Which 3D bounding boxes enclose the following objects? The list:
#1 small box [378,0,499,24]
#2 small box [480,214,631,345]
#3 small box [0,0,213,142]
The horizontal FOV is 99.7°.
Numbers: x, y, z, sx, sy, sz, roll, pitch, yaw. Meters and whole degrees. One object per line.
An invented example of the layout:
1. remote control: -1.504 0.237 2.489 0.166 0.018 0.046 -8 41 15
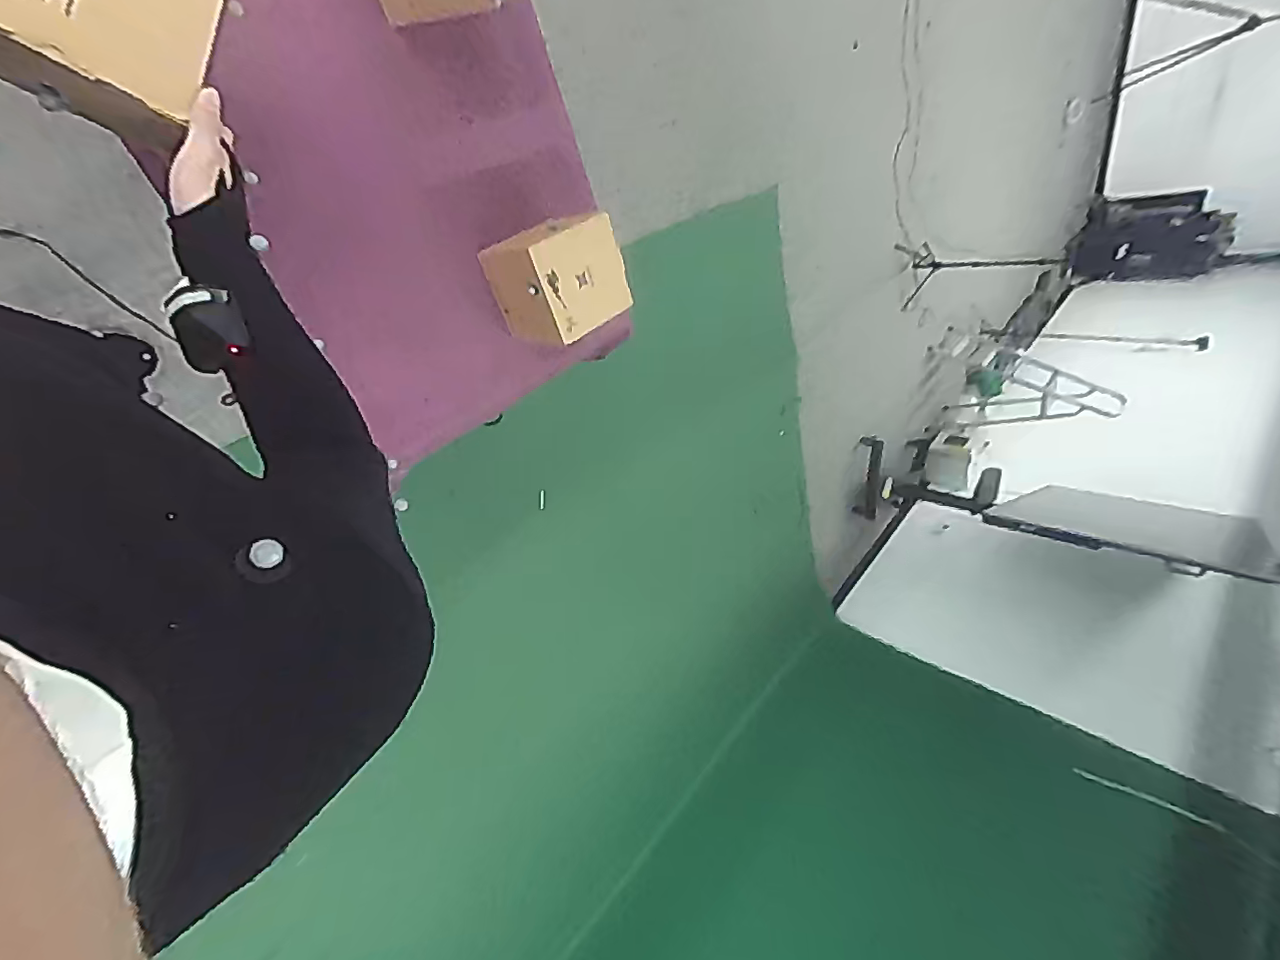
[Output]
1. small box: -0.265 -0.743 0.718 0.179 0.176 0.168 -39 127 -29
2. small box: -0.149 -0.359 0.967 0.179 0.176 0.168 -40 128 -29
3. small box: -0.475 -0.423 0.449 0.168 0.176 0.179 14 93 -48
